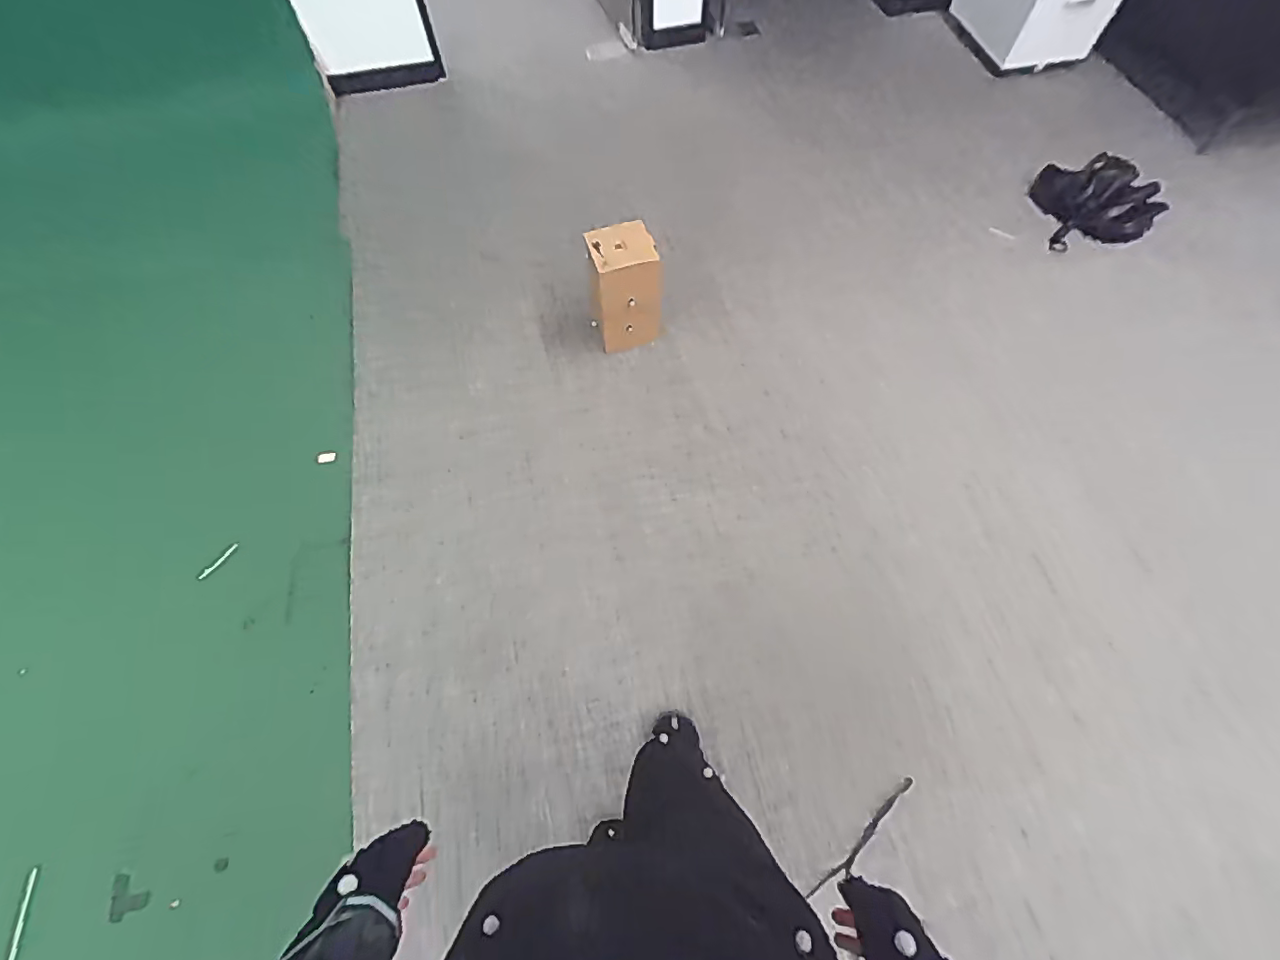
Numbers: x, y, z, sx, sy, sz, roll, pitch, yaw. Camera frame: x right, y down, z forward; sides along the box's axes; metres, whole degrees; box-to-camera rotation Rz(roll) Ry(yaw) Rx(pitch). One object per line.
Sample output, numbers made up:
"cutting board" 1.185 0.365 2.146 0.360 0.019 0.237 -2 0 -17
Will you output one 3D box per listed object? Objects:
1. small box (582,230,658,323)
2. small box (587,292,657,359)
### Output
"small box" -0.059 -0.584 1.564 0.179 0.176 0.168 -16 64 -8
"small box" -0.058 -0.514 1.712 0.179 0.176 0.168 -21 65 -10
